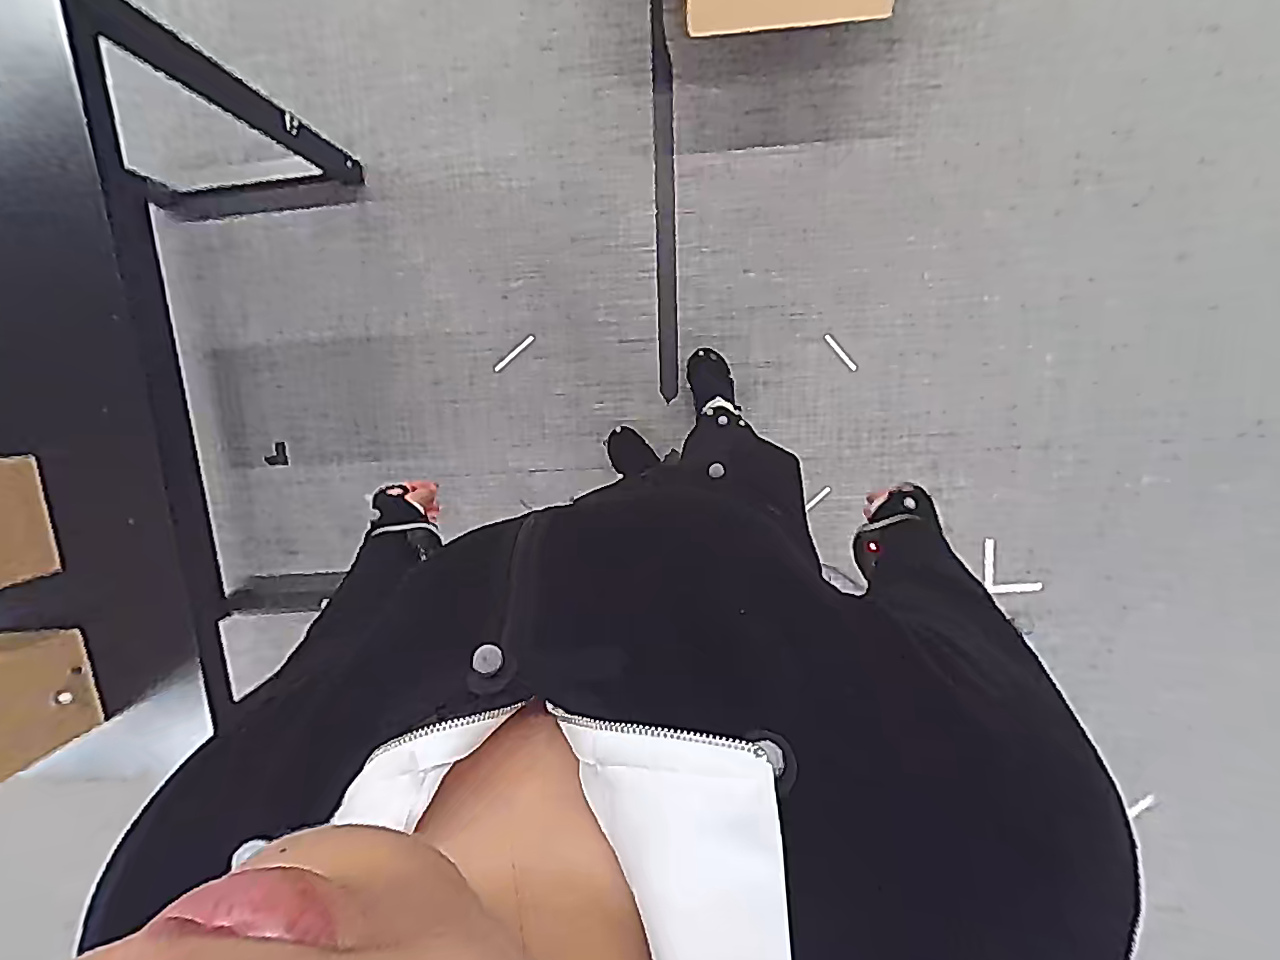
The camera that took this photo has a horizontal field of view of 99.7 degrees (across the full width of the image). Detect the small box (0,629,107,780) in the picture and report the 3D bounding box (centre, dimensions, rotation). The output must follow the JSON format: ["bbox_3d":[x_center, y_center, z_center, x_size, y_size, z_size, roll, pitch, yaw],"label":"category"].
[{"bbox_3d":[-0.957,0.333,0.791,0.179,0.176,0.168,-5,100,4],"label":"small box"}]

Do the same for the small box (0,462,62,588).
[{"bbox_3d":[-0.977,0.070,0.747,0.168,0.176,0.179,-3,99,5],"label":"small box"}]
